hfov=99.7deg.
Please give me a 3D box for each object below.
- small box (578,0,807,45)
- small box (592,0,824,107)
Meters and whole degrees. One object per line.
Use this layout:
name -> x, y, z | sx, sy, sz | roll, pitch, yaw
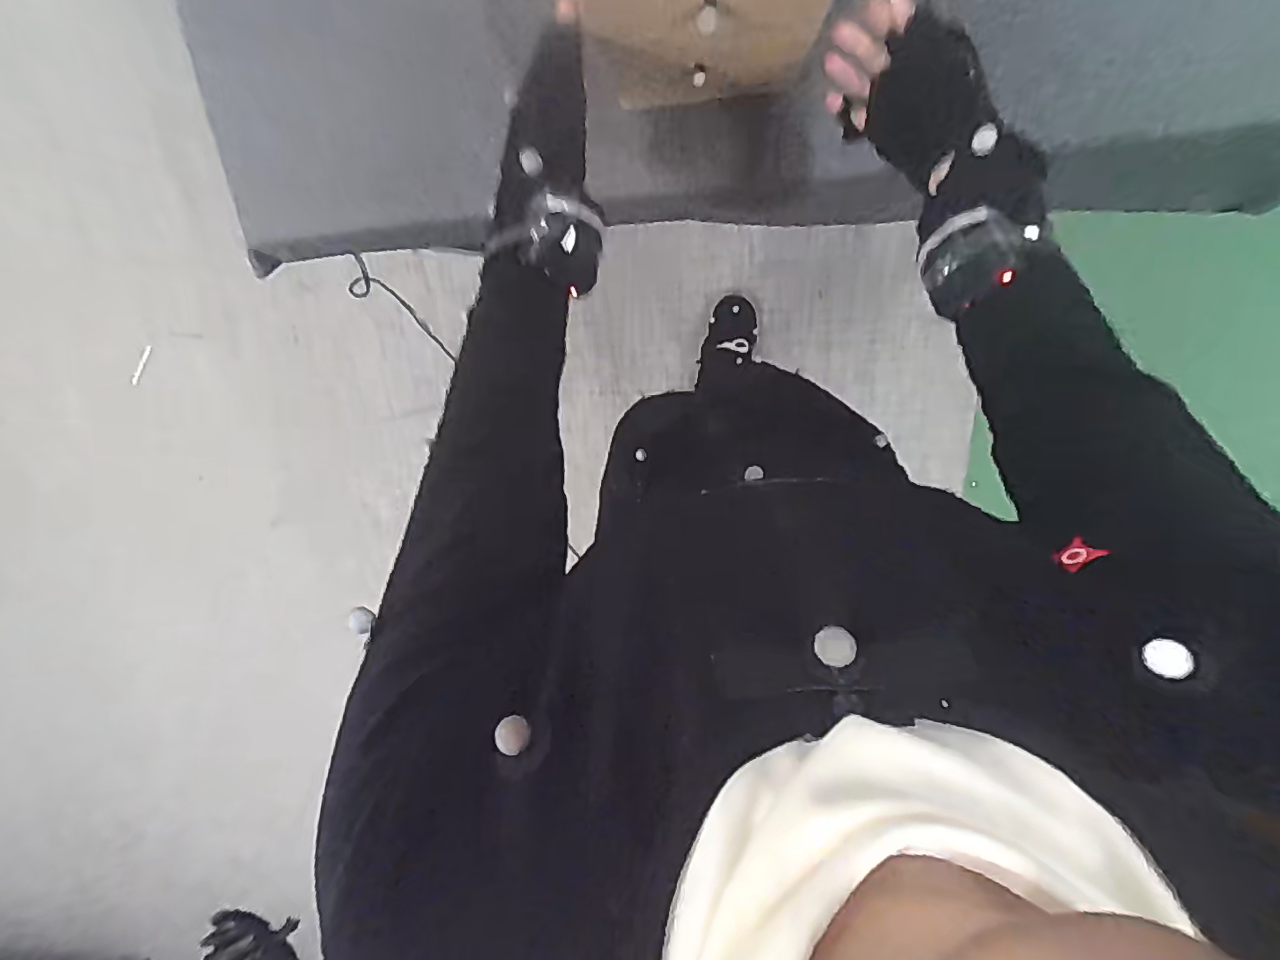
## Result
small box -> 0.035, -0.388, 0.308 | 0.179, 0.176, 0.168 | -4, 109, 9
small box -> 0.053, -0.443, 0.457 | 0.179, 0.176, 0.168 | -2, 108, 8
